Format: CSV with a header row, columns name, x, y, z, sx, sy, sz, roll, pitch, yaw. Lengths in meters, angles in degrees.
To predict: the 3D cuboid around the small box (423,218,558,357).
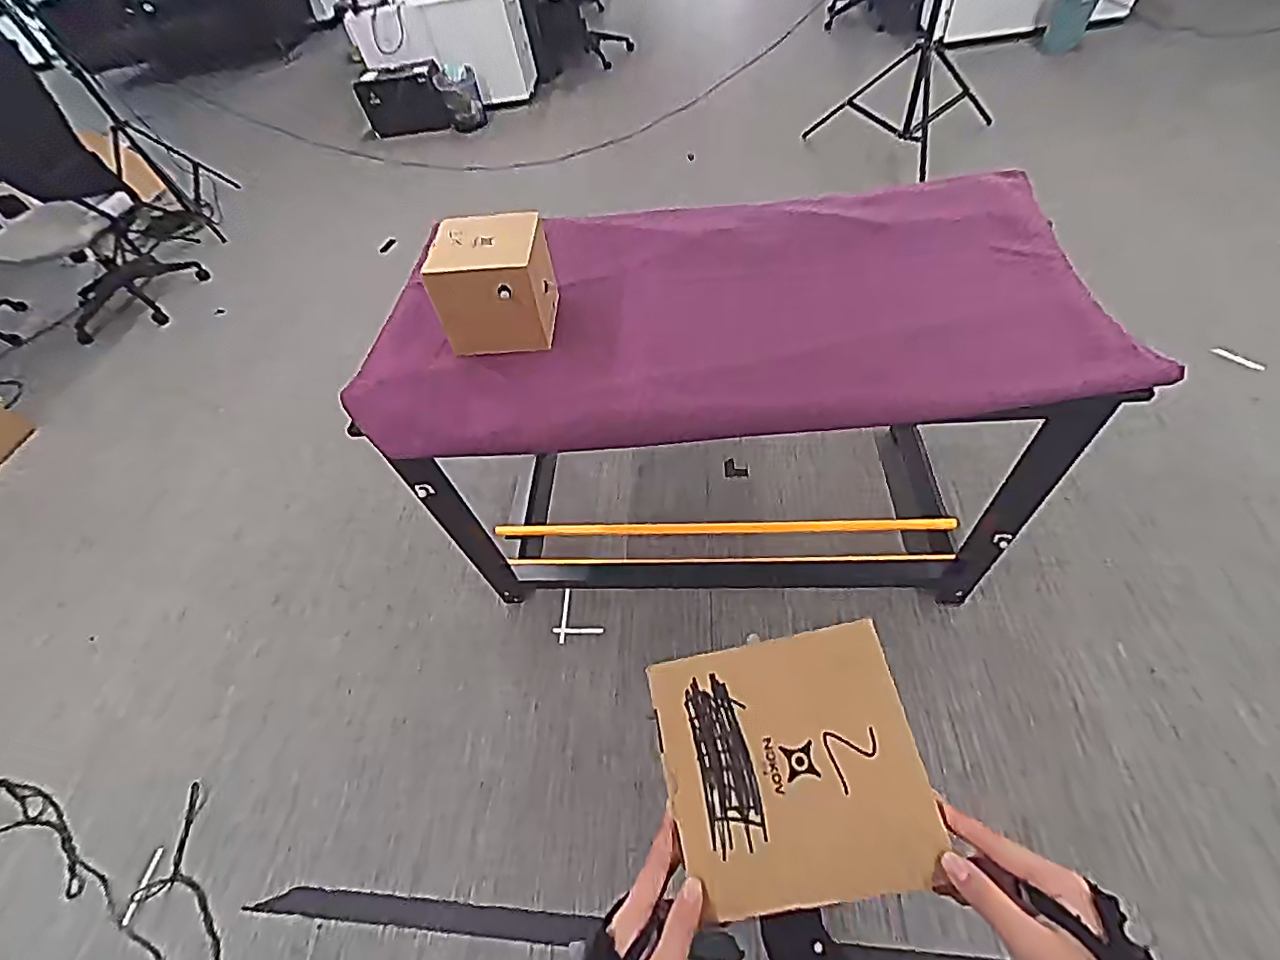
name,x,y,z,sx,sy,sz,roll,pitch,yaw
small box,-0.249,-0.336,0.956,0.179,0.176,0.168,-3,53,4
